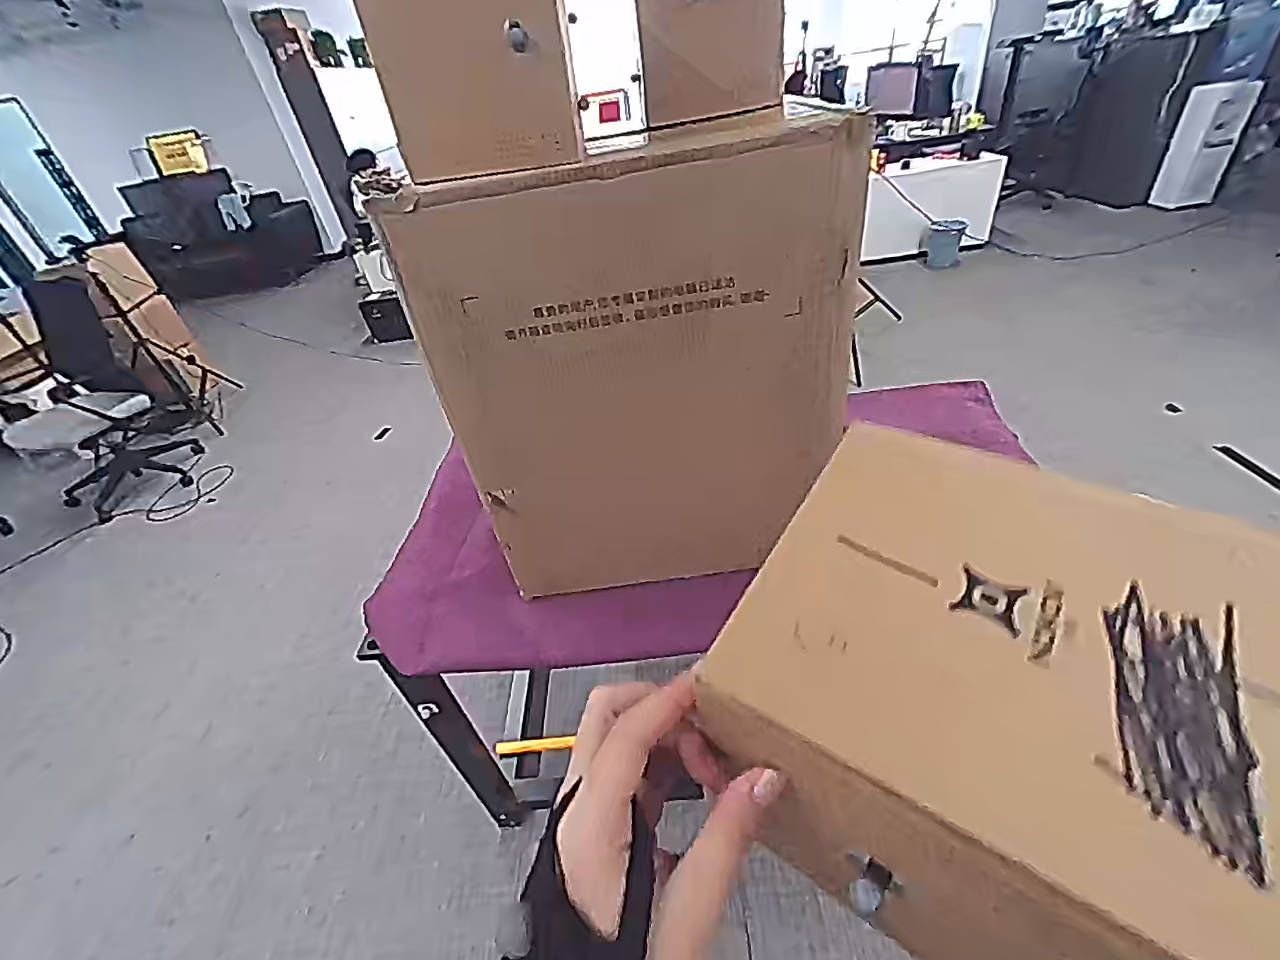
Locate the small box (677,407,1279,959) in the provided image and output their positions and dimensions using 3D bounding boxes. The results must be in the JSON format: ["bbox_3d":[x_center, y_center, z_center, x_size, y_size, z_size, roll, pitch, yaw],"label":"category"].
[{"bbox_3d":[0.138,0.099,0.246,0.179,0.176,0.168,22,53,29],"label":"small box"}]
